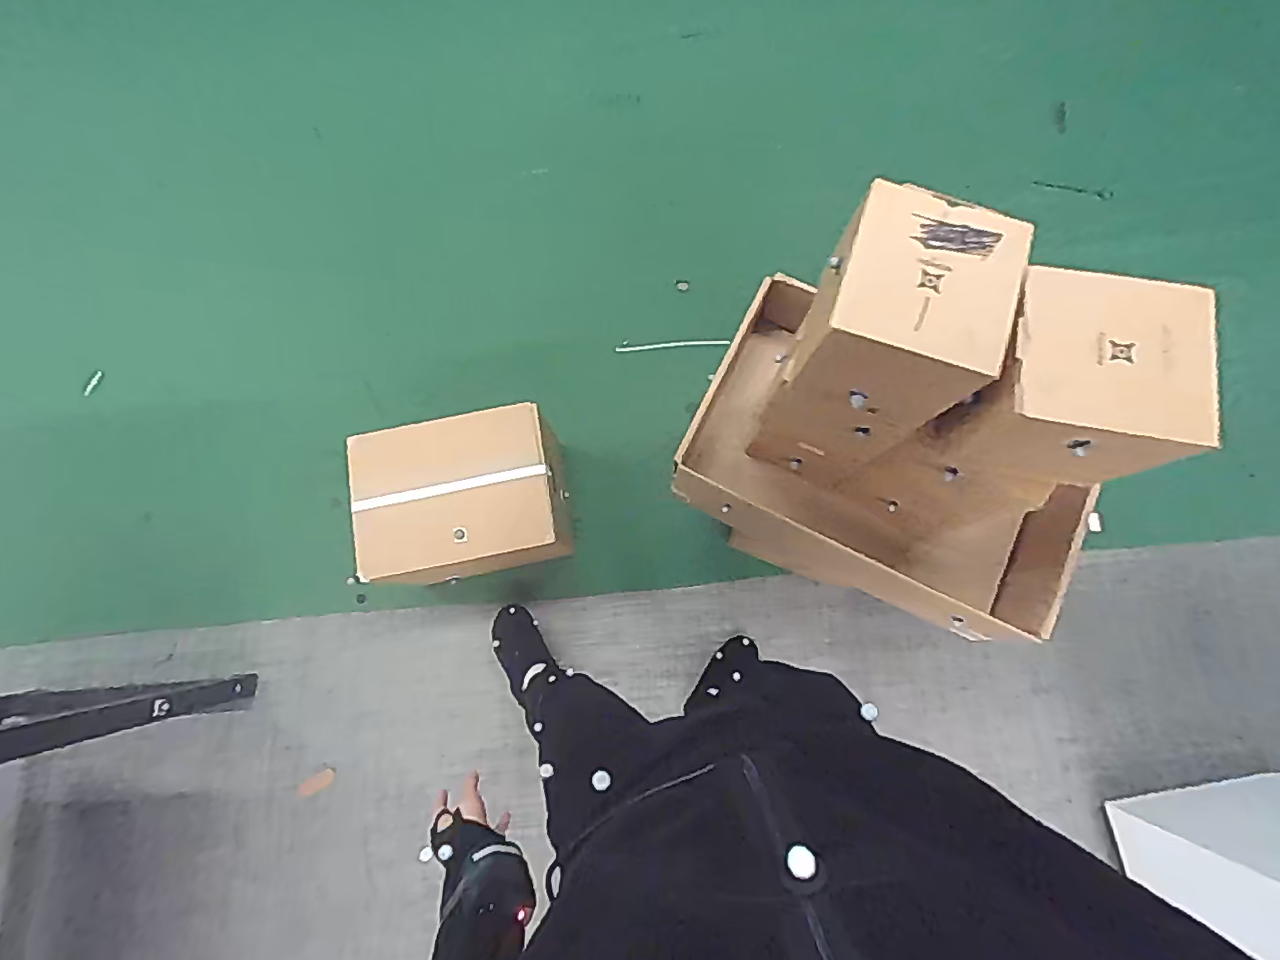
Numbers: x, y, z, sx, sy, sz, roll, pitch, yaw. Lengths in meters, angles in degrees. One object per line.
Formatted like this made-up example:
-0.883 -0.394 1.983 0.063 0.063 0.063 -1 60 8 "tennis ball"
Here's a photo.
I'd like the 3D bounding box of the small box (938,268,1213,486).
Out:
0.457 -0.101 0.595 0.179 0.176 0.168 12 77 7 "small box"
